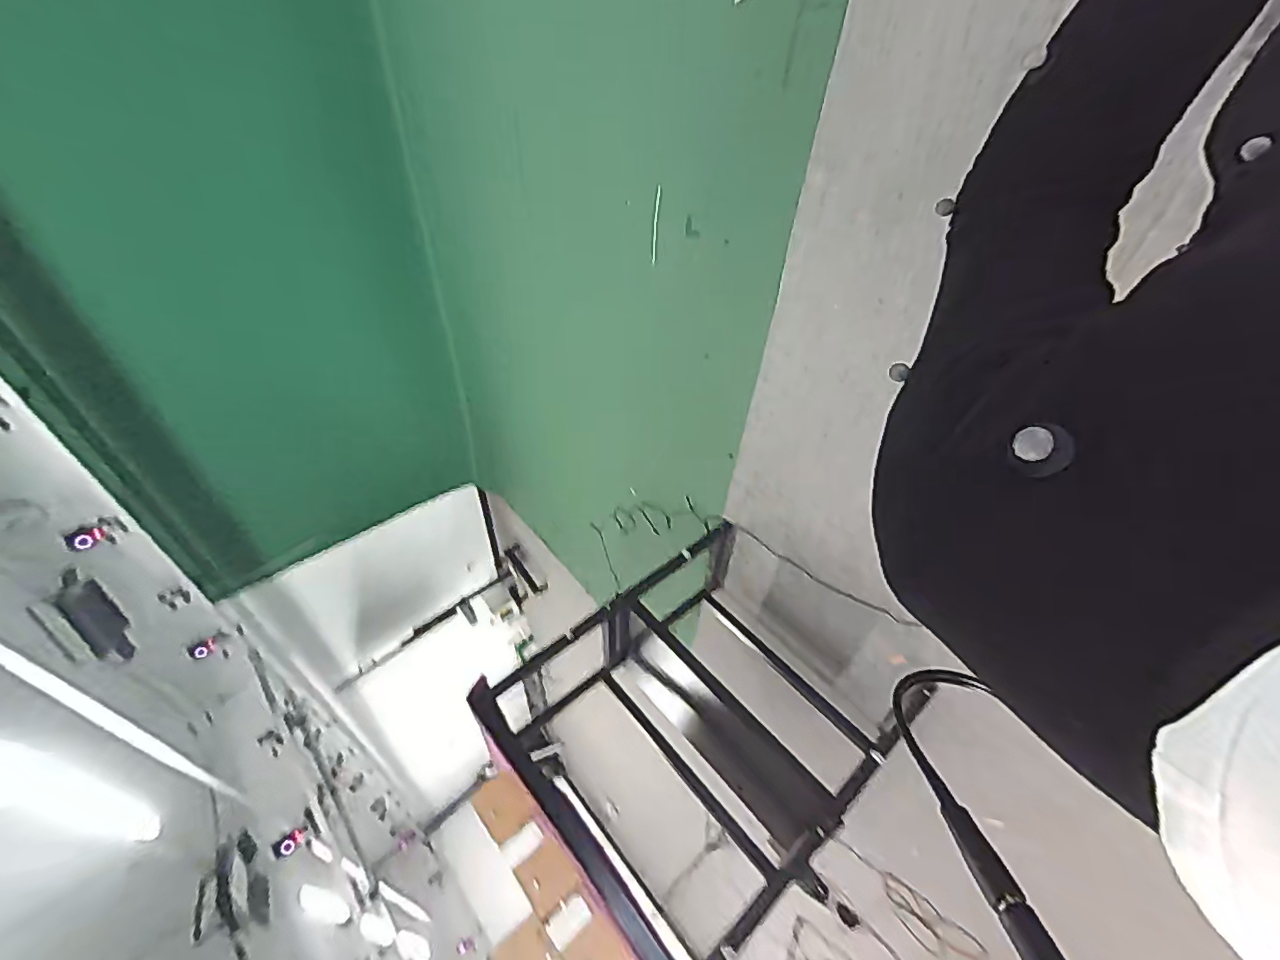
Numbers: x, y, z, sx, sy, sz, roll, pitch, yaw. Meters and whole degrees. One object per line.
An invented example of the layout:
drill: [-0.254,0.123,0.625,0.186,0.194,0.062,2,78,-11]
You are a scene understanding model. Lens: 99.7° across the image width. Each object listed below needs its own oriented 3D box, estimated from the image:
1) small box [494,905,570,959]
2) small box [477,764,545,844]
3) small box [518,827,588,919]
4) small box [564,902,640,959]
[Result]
small box: [-0.330,1.467,1.681,0.168,0.176,0.179,42,147,31]
small box: [-0.466,1.167,1.966,0.179,0.176,0.168,39,146,31]
small box: [-0.285,1.317,1.815,0.179,0.176,0.168,41,146,32]
small box: [-0.112,1.471,1.680,0.179,0.176,0.168,39,144,34]
